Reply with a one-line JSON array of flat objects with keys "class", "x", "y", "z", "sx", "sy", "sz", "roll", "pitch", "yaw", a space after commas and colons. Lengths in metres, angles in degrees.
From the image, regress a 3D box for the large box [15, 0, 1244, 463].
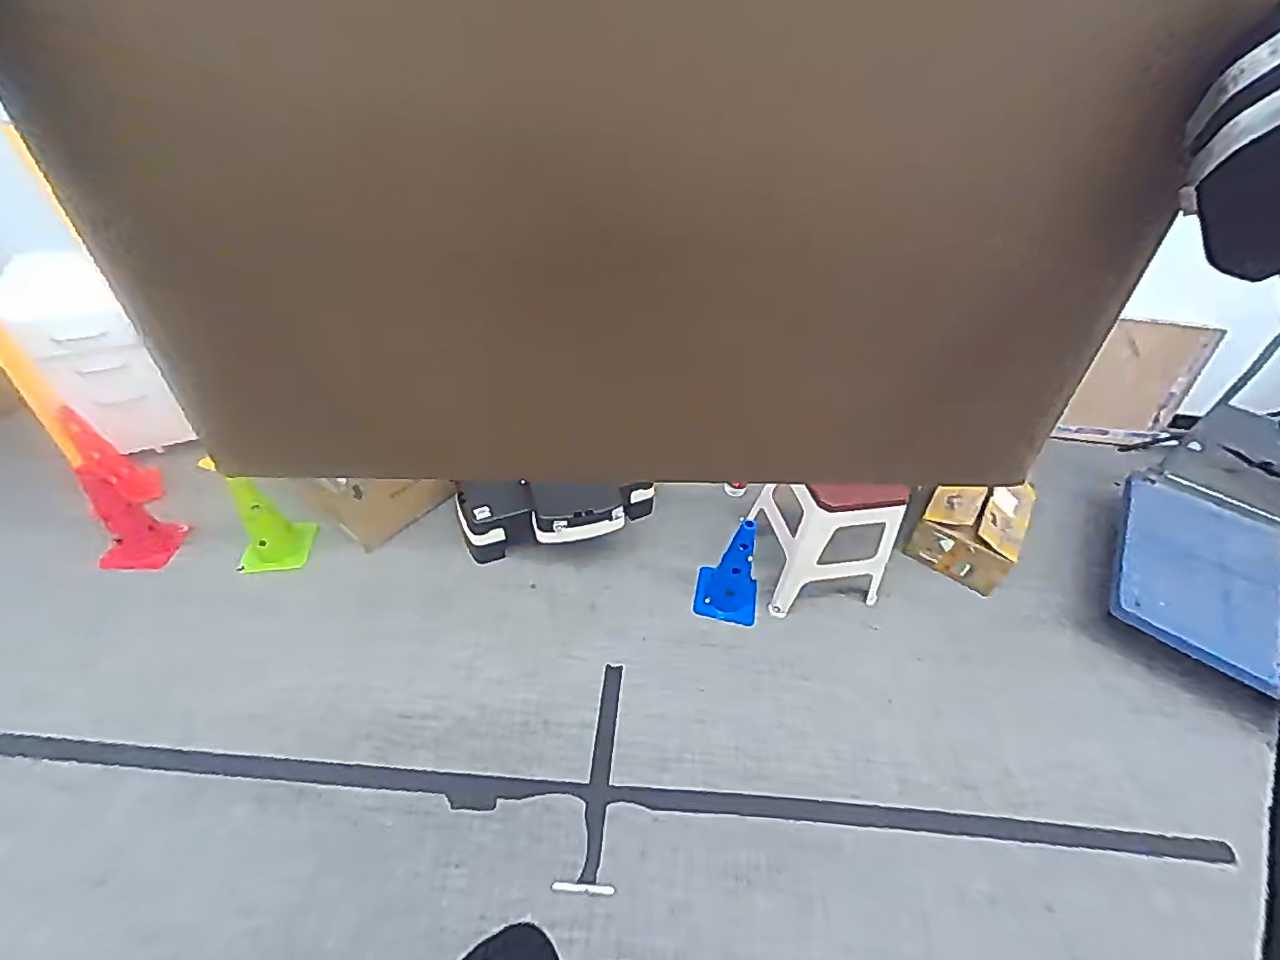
[{"class": "large box", "x": -0.004, "y": -0.219, "z": 0.306, "sx": 0.408, "sy": 0.320, "sz": 0.320, "roll": 2, "pitch": 38, "yaw": -1}]
